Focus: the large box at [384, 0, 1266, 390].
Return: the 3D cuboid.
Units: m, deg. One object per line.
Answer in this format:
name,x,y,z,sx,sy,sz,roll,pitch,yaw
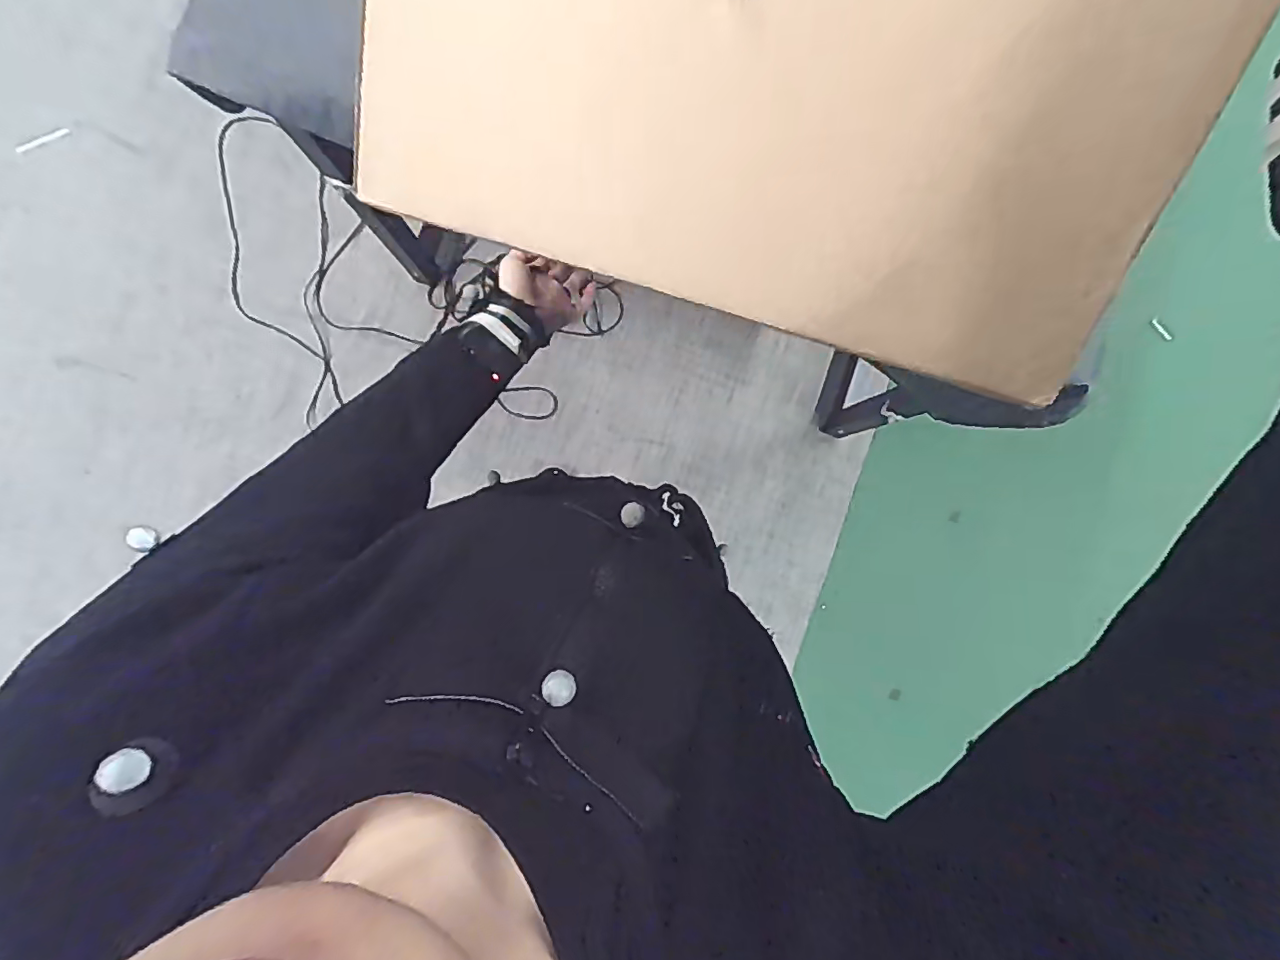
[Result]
large box,0.095,-0.284,0.382,0.408,0.320,0.320,18,112,10
